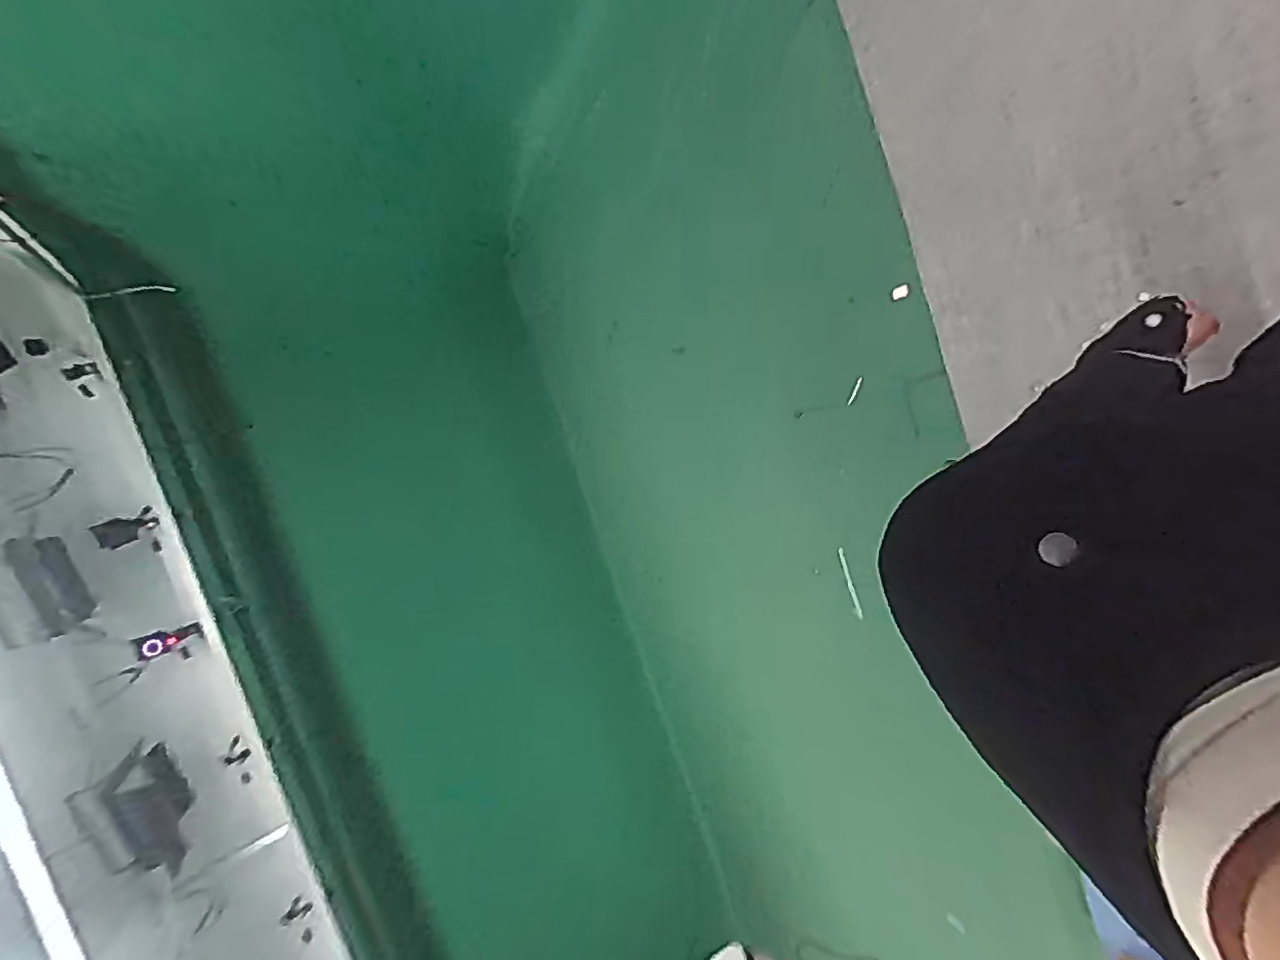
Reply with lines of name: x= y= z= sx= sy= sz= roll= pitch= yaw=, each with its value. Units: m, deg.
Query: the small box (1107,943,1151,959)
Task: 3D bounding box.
small box: x=1.395 y=1.443 z=1.482 sx=0.179 sy=0.176 sz=0.168 roll=-5 pitch=104 yaw=61
